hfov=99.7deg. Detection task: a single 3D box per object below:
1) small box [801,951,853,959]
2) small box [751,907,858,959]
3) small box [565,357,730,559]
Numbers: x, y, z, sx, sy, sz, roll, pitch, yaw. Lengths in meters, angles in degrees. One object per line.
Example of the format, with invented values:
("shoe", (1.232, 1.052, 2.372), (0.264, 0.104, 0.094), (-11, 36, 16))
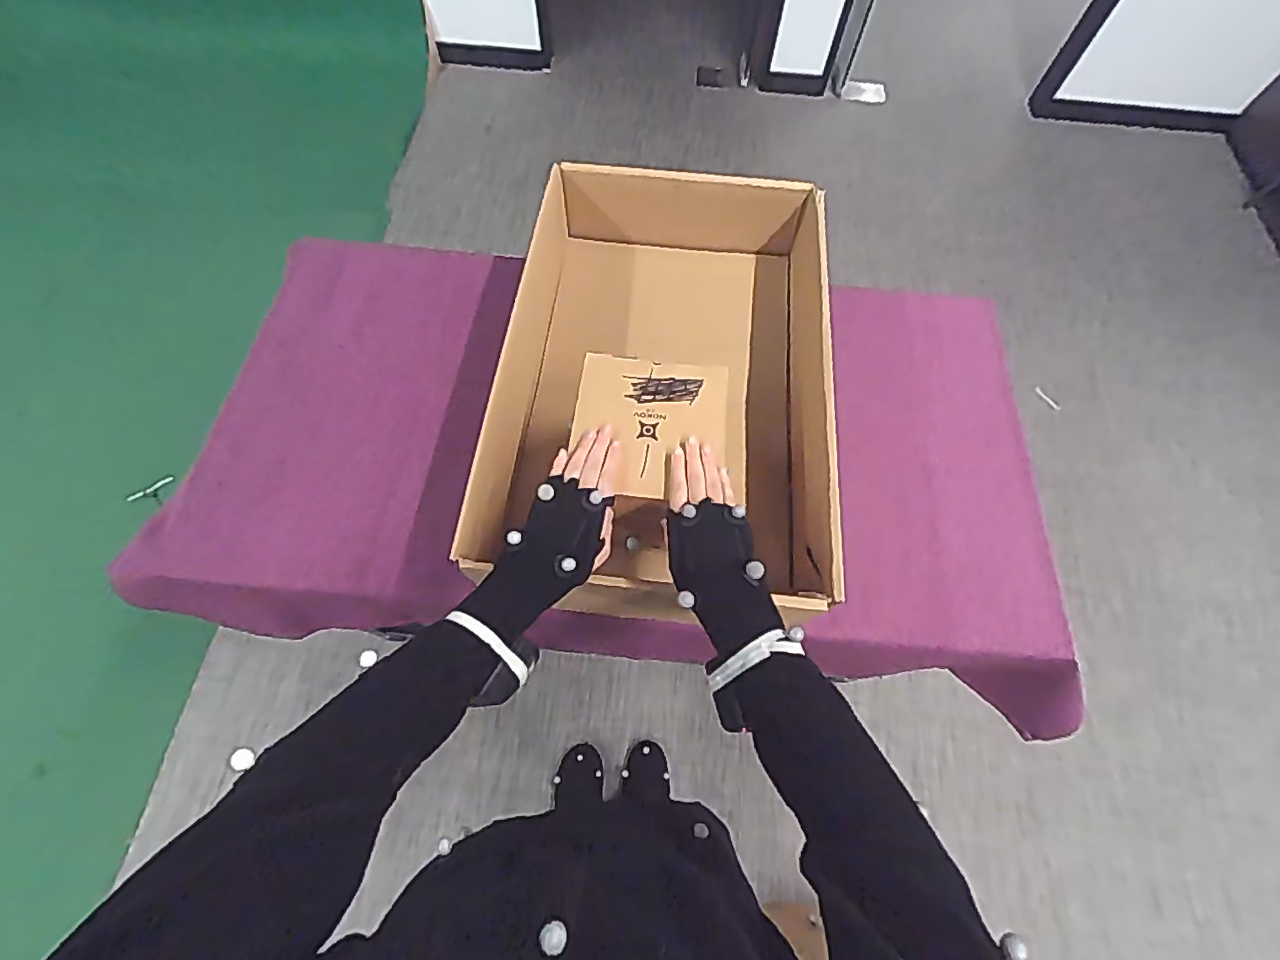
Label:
("small box", (0.334, 0.821, 0.778), (0.168, 0.176, 0.179), (7, 64, 1))
("small box", (0.322, 0.972, 1.071), (0.179, 0.176, 0.168), (1, 65, -2))
("small box", (0.010, -0.020, 0.653), (0.168, 0.176, 0.179), (6, 65, 2))
